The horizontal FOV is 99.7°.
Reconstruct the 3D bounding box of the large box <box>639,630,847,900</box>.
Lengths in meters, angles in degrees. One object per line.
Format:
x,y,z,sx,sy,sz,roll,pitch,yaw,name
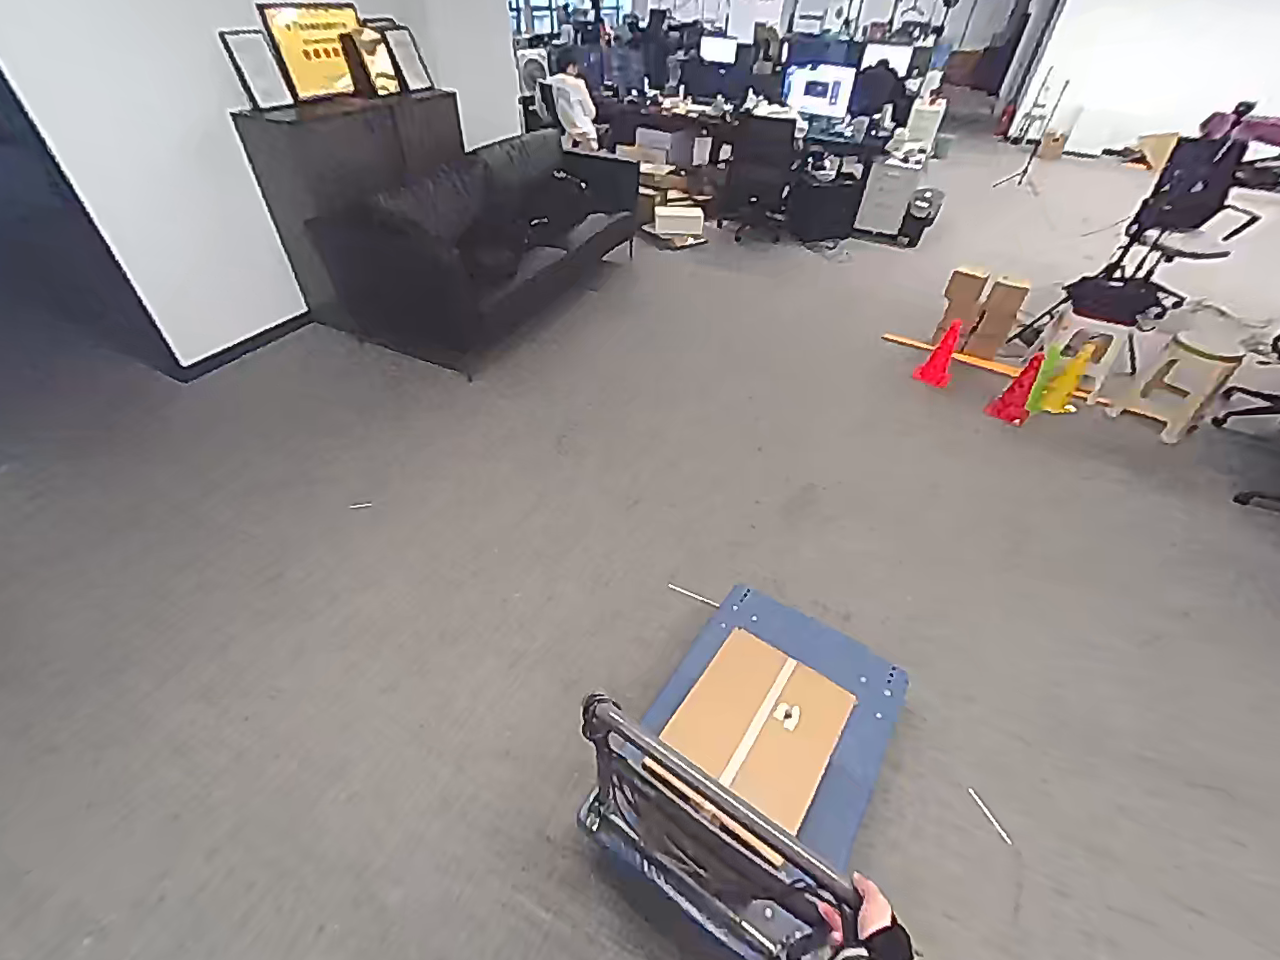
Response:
0.234,0.654,1.275,0.320,0.320,0.408,28,47,24,large box
